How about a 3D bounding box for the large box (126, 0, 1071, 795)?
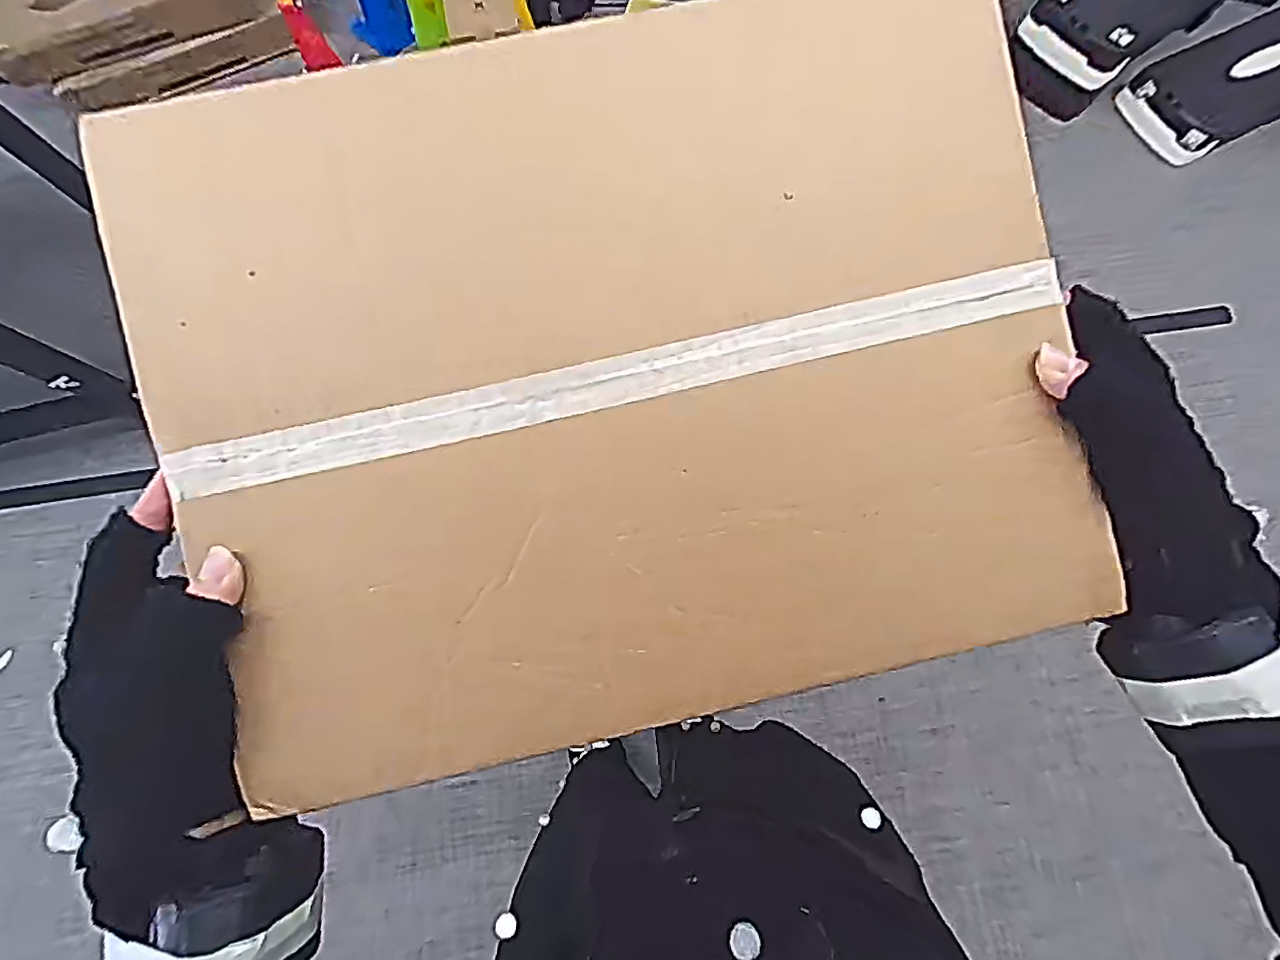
[{"bbox_3d":[-0.015,-0.048,0.405,0.408,0.320,0.320,-13,90,-3],"label":"large box"}]
